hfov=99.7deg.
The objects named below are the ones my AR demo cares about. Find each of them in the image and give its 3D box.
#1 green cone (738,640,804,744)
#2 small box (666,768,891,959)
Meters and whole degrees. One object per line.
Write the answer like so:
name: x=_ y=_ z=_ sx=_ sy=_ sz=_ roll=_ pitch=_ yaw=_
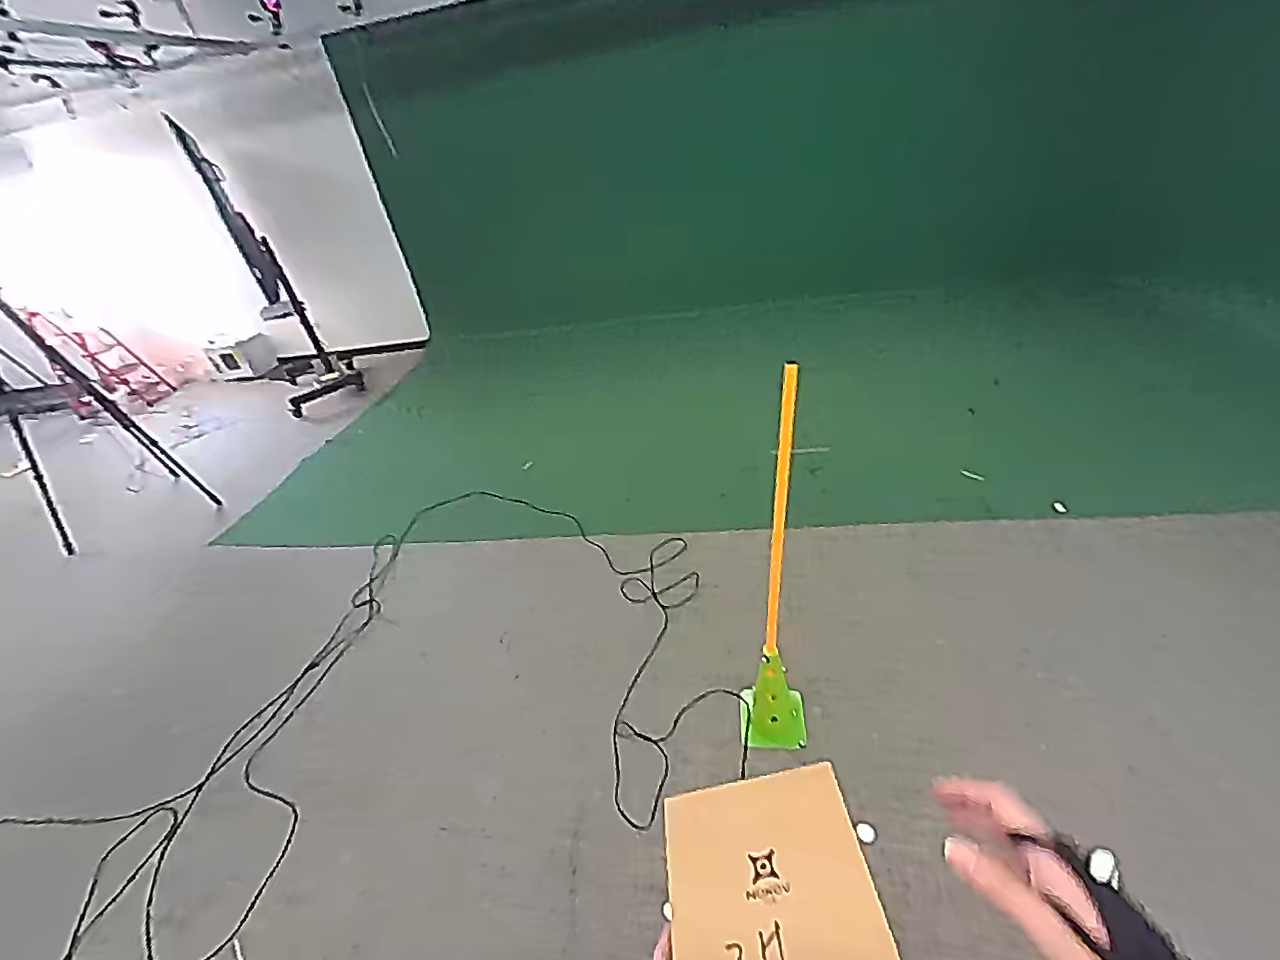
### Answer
green cone: x=0.396 y=0.624 z=1.669 sx=0.202 sy=0.368 sz=0.200 roll=-4 pitch=34 yaw=11
small box: x=0.125 y=0.402 z=0.483 sx=0.168 sy=0.176 sz=0.179 roll=-16 pitch=25 yaw=8
